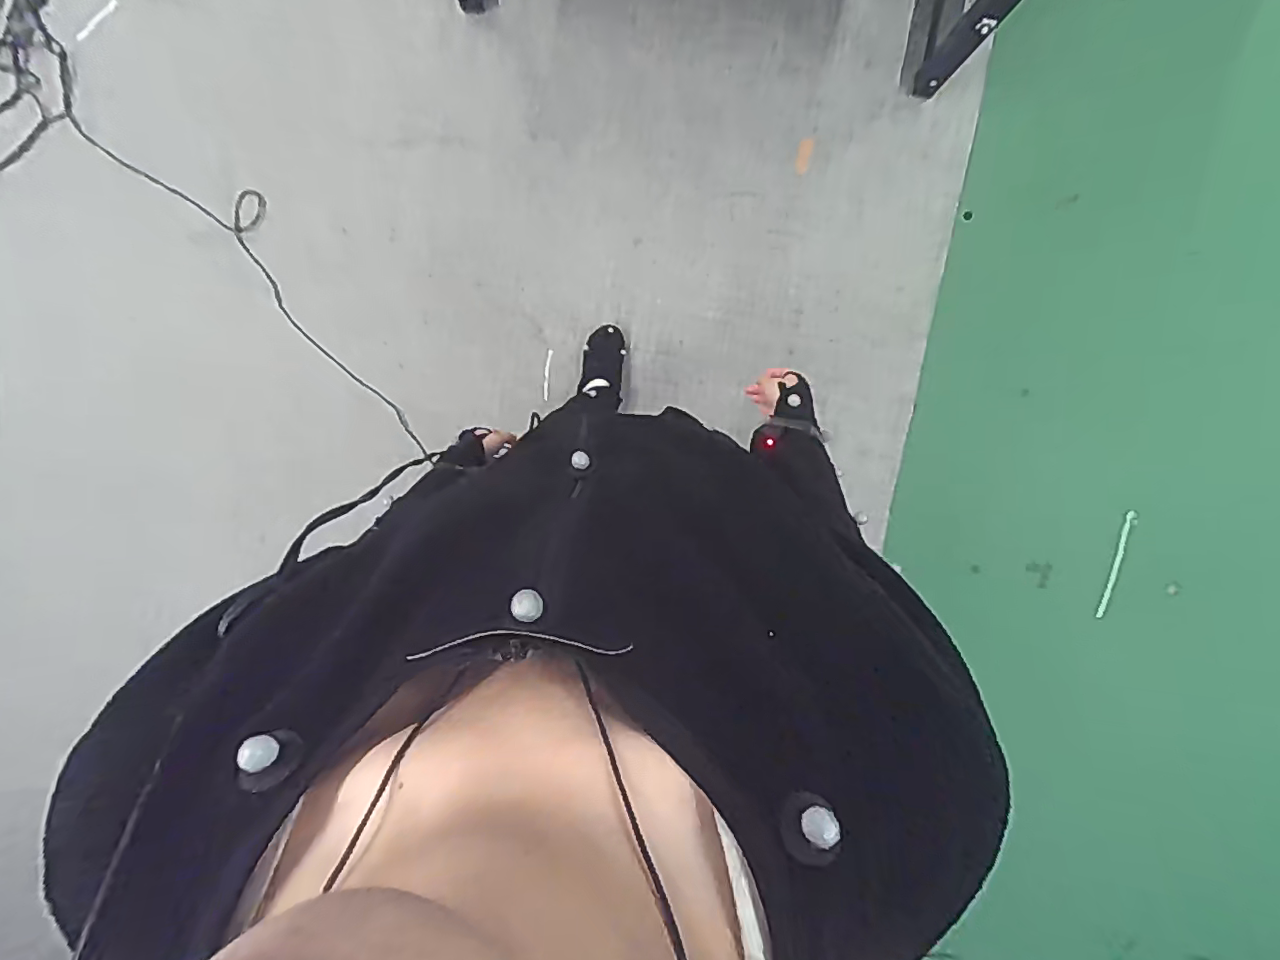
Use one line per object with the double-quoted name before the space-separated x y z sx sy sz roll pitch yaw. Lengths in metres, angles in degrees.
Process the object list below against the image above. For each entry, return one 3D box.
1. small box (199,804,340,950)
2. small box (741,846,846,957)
"small box" -0.846 0.911 1.254 0.168 0.176 0.179 44 95 -5
"small box" 0.350 1.003 1.247 0.168 0.176 0.179 -24 97 3
